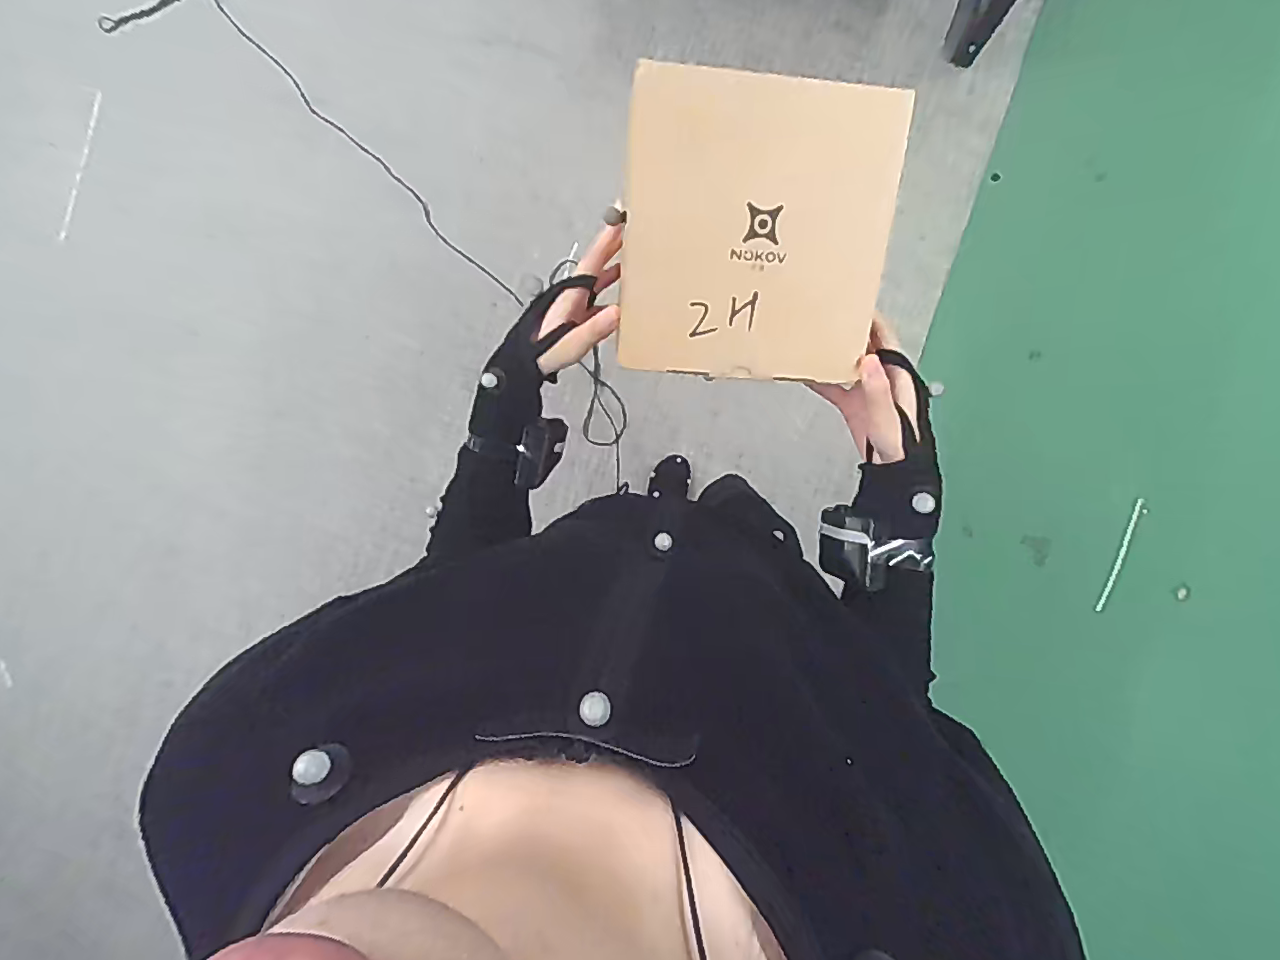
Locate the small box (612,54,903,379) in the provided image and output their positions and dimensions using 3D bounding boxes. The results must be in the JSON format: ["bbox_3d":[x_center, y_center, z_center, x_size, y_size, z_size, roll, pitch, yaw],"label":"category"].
[{"bbox_3d":[0.066,-0.183,0.420,0.168,0.176,0.179,4,108,-5],"label":"small box"}]
